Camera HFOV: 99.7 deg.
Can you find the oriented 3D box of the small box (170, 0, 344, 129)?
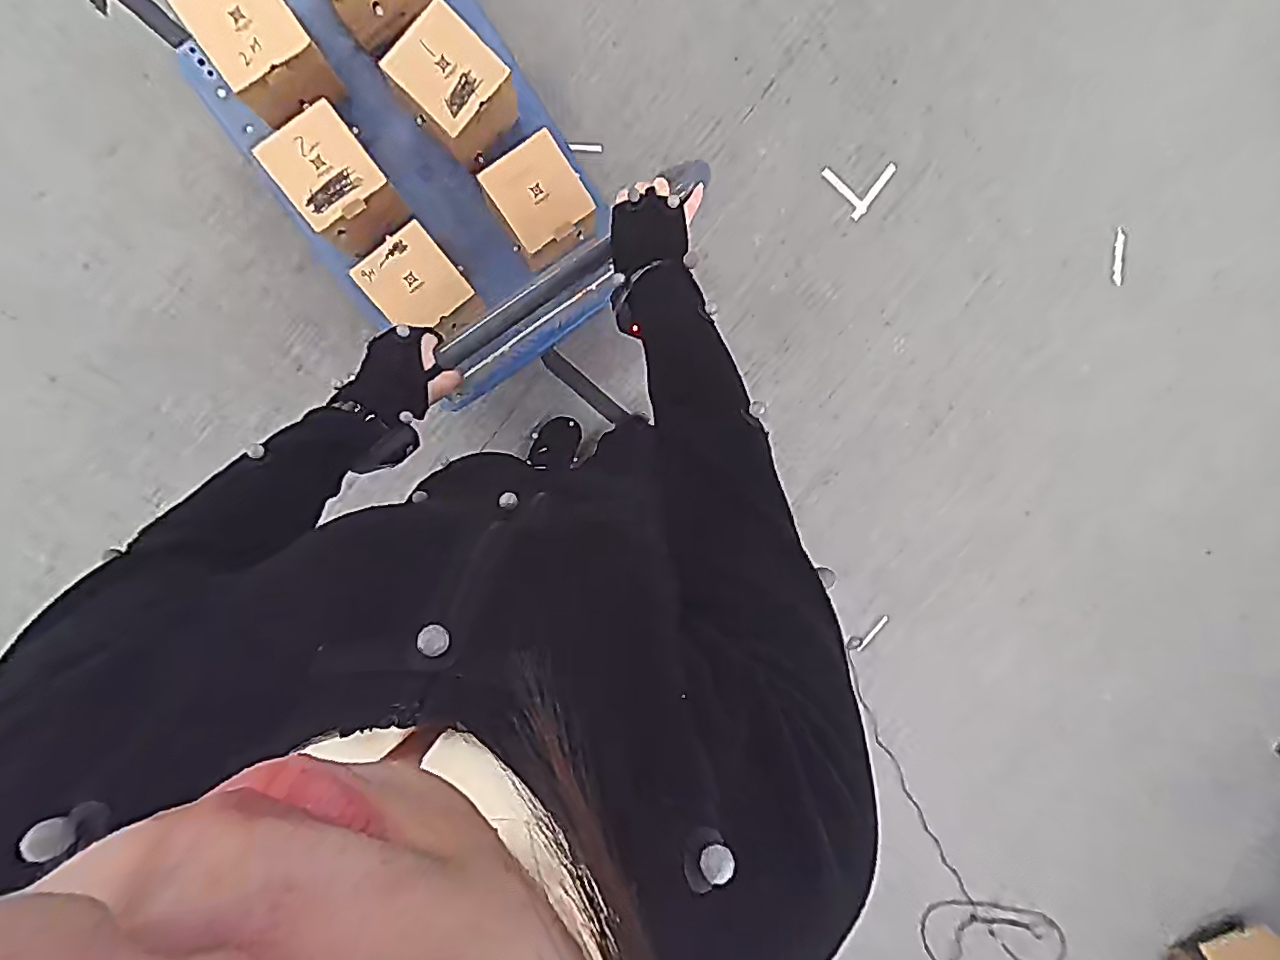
[{"bbox_3d":[-0.701,-0.810,1.009,0.168,0.176,0.179,-35,103,-1],"label":"small box"}]

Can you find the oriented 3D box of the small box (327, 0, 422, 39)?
[{"bbox_3d":[-0.536,-0.978,1.006,0.168,0.176,0.179,-39,103,0],"label":"small box"}]

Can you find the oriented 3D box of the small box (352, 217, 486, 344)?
[{"bbox_3d":[-0.442,-0.398,1.116,0.168,0.176,0.179,-40,103,-1],"label":"small box"}]

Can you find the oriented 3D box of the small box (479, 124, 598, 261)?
[{"bbox_3d":[-0.205,-0.579,1.122,0.168,0.176,0.179,-36,102,-2],"label":"small box"}]

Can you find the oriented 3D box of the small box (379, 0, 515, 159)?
[{"bbox_3d":[-0.365,-0.773,1.065,0.179,0.176,0.168,41,92,-11],"label":"small box"}]
